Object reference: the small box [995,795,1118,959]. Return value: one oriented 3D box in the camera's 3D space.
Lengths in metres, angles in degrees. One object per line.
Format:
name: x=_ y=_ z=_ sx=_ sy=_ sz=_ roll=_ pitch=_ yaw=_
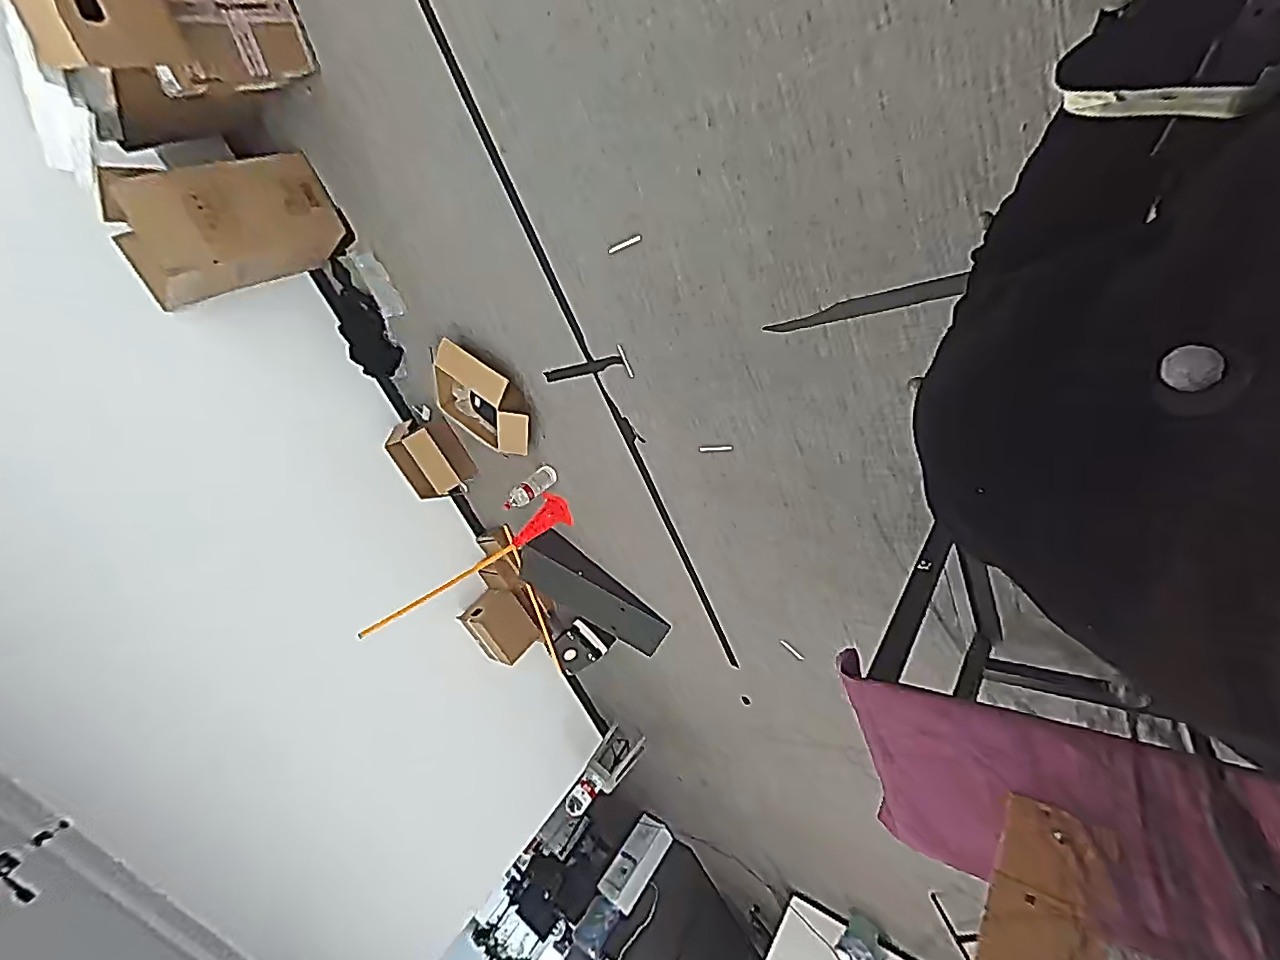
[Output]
small box: x=0.782 y=0.745 z=1.017 sx=0.168 sy=0.176 sz=0.179 roll=5 pitch=127 yaw=42
